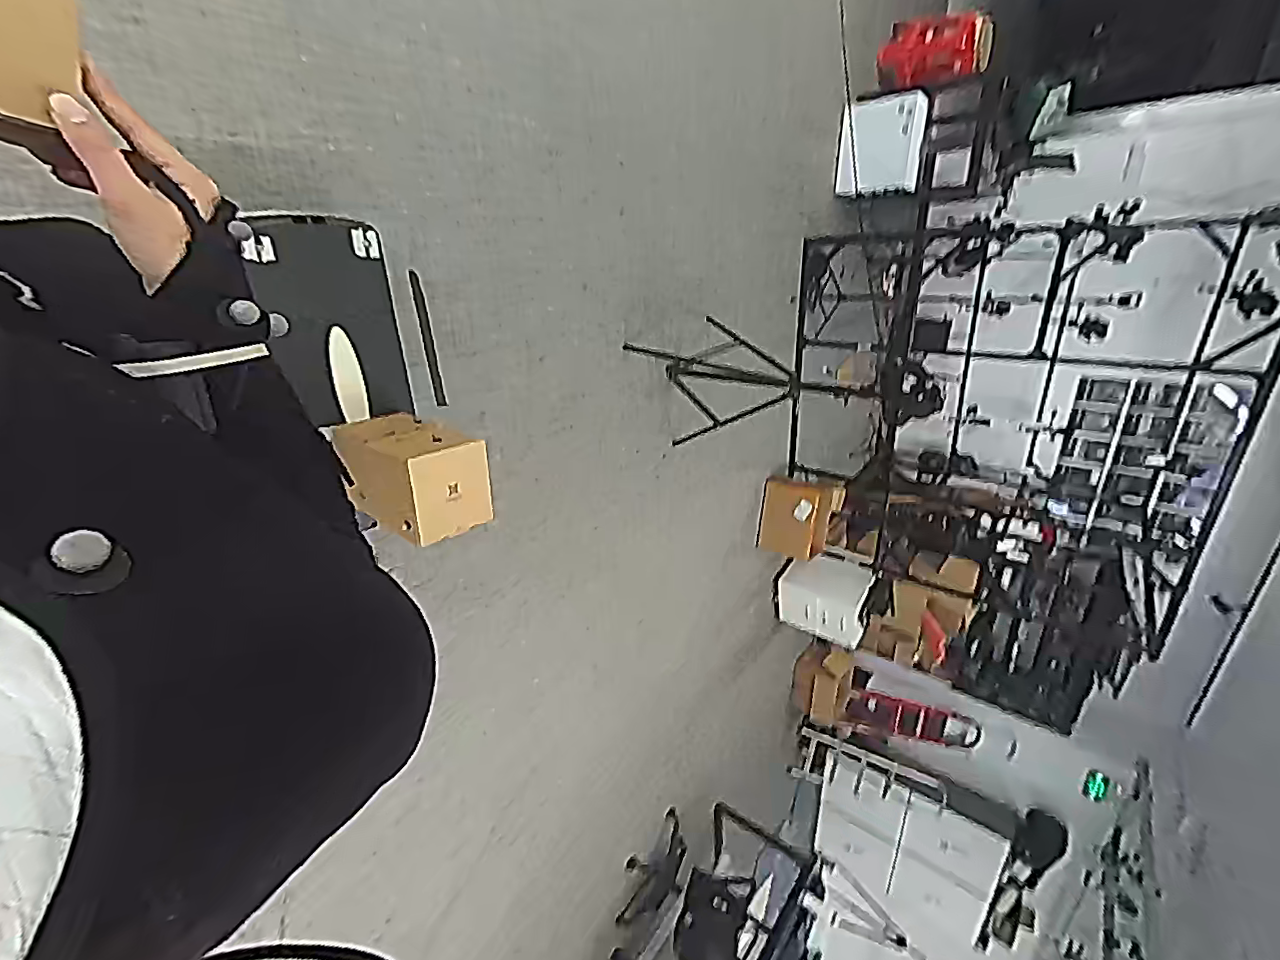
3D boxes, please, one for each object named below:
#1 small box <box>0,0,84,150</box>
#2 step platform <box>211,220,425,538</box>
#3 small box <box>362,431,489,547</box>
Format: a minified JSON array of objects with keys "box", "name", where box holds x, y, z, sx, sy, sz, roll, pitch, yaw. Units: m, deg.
[{"box":[-0.403,-0.295,0.271,0.168,0.176,0.179,-3,110,-46],"name":"small box"},{"box":[-0.680,-0.213,1.225,0.286,0.204,0.684,-28,123,-46],"name":"step platform"},{"box":[-0.425,0.006,1.072,0.168,0.176,0.179,-24,121,-47],"name":"small box"}]
